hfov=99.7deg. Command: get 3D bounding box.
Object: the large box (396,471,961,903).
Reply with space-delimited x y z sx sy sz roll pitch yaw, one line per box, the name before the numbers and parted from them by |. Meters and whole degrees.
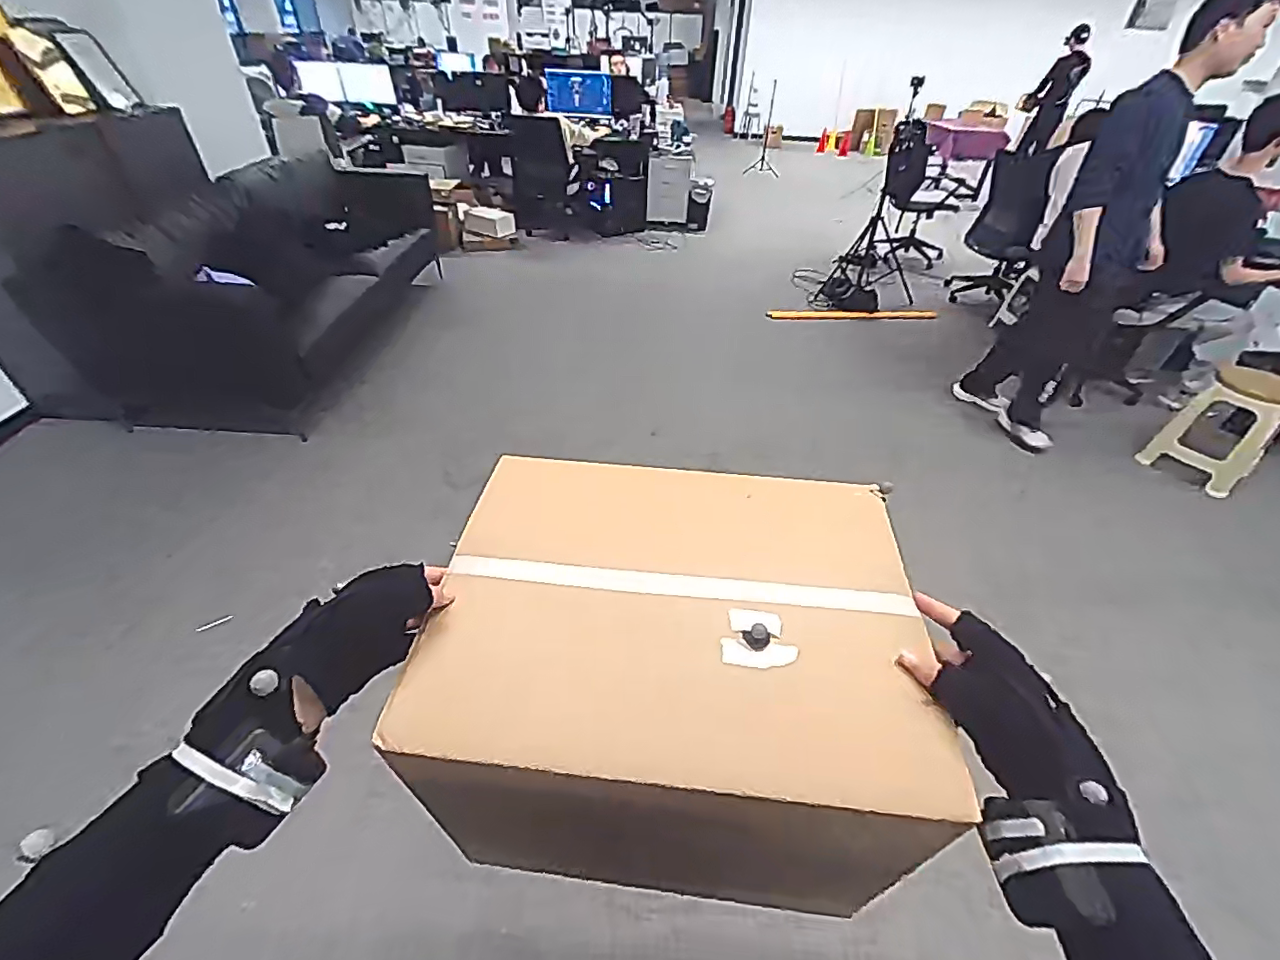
large box | 0.032 0.212 0.581 0.408 0.320 0.320 4 43 5
